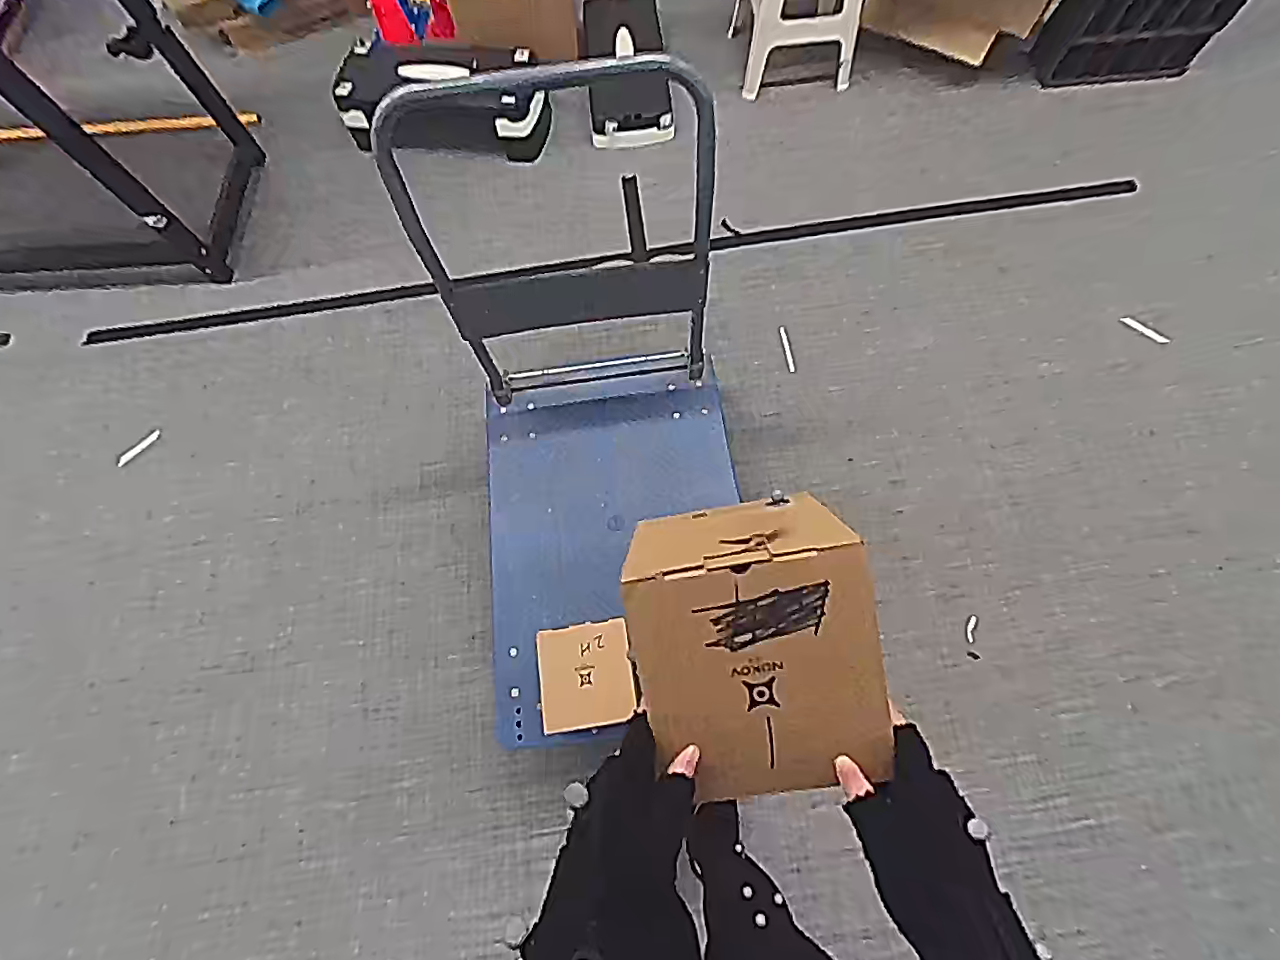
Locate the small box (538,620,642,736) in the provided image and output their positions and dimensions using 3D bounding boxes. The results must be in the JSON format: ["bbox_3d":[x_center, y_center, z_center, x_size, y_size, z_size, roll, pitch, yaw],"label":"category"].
[{"bbox_3d":[-0.091,0.375,1.032,0.168,0.176,0.179,-9,69,-1],"label":"small box"}]

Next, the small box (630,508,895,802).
[{"bbox_3d":[0.091,0.127,0.457,0.168,0.176,0.179,-10,99,6],"label":"small box"}]
